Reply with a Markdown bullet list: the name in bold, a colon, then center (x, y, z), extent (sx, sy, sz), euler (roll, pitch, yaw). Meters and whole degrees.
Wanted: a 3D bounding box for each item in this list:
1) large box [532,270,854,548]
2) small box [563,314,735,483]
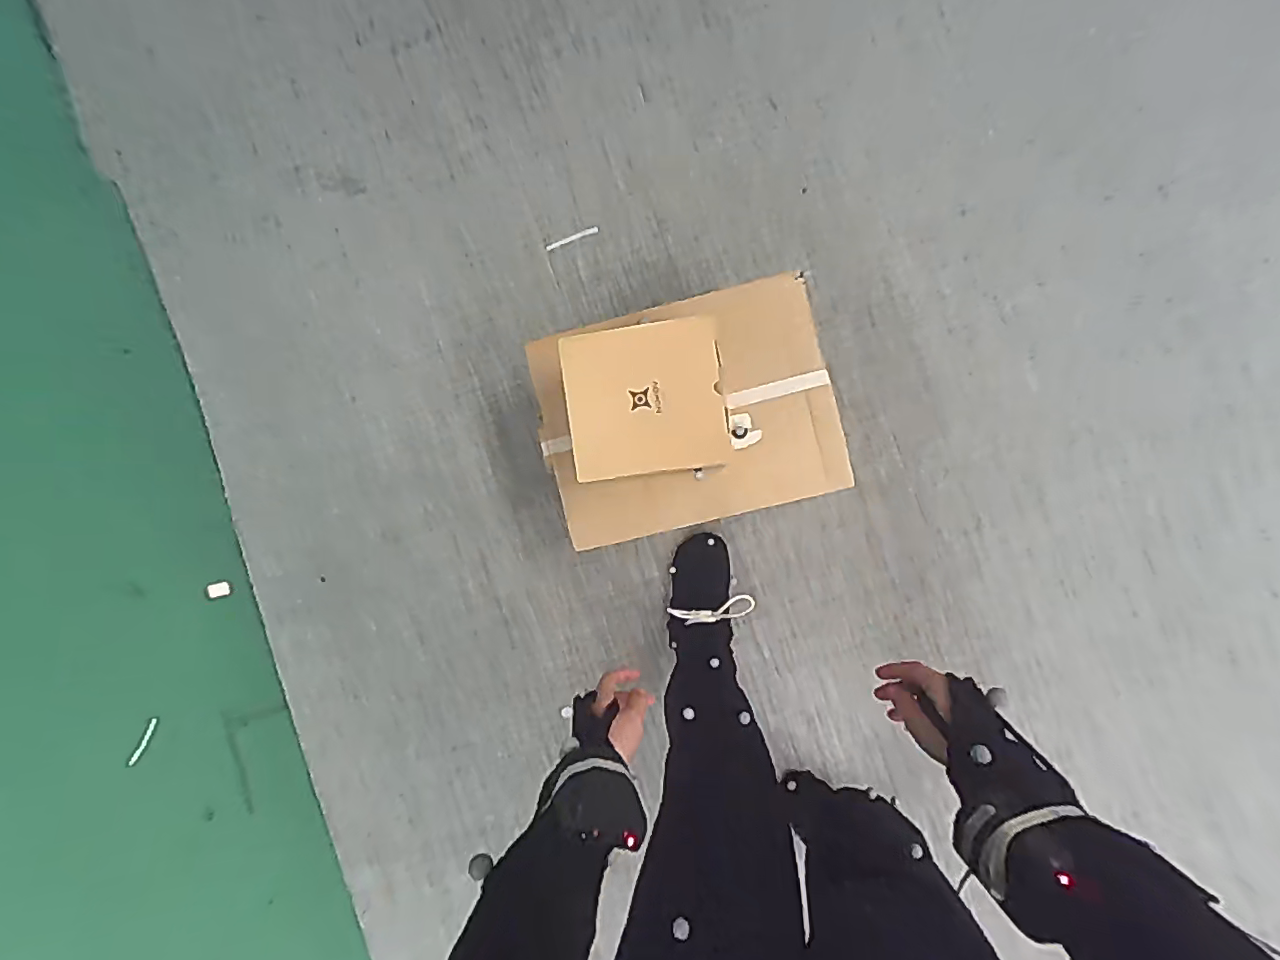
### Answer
- **large box**: center (0.079, -0.095, 0.911), extent (0.408, 0.320, 0.320), euler (-14, 89, 4)
- **small box**: center (0.015, -0.088, 0.672), extent (0.179, 0.176, 0.168), euler (-8, 88, 4)
